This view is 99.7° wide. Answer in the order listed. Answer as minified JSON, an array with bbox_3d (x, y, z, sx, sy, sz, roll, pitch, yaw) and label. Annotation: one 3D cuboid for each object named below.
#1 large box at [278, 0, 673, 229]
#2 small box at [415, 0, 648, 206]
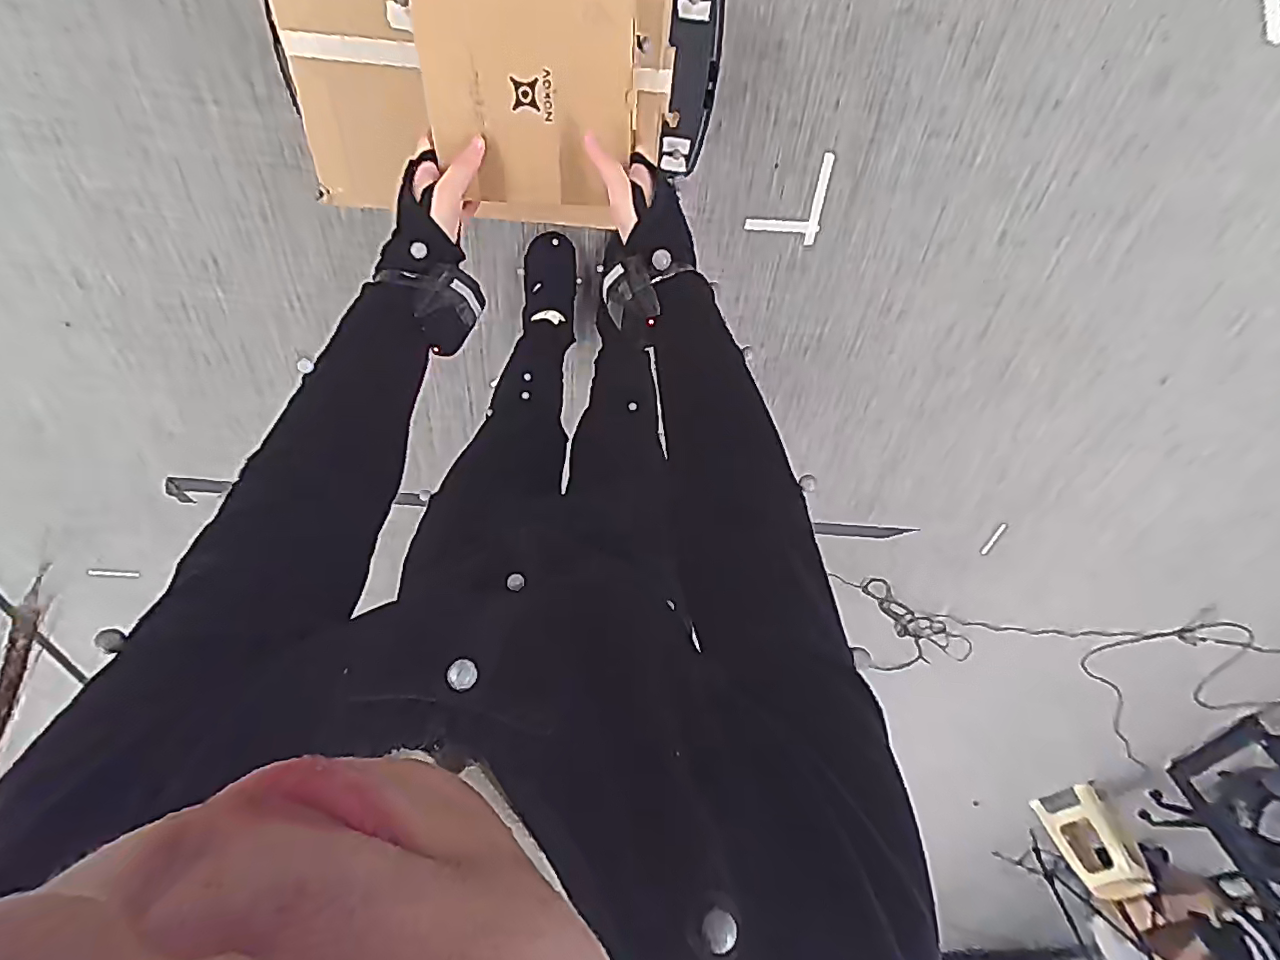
[{"bbox_3d":[-0.169,-0.539,0.690,0.408,0.320,0.320,4,128,-3],"label":"large box"},{"bbox_3d":[-0.084,-0.366,0.500,0.179,0.176,0.168,2,128,-1],"label":"small box"}]
